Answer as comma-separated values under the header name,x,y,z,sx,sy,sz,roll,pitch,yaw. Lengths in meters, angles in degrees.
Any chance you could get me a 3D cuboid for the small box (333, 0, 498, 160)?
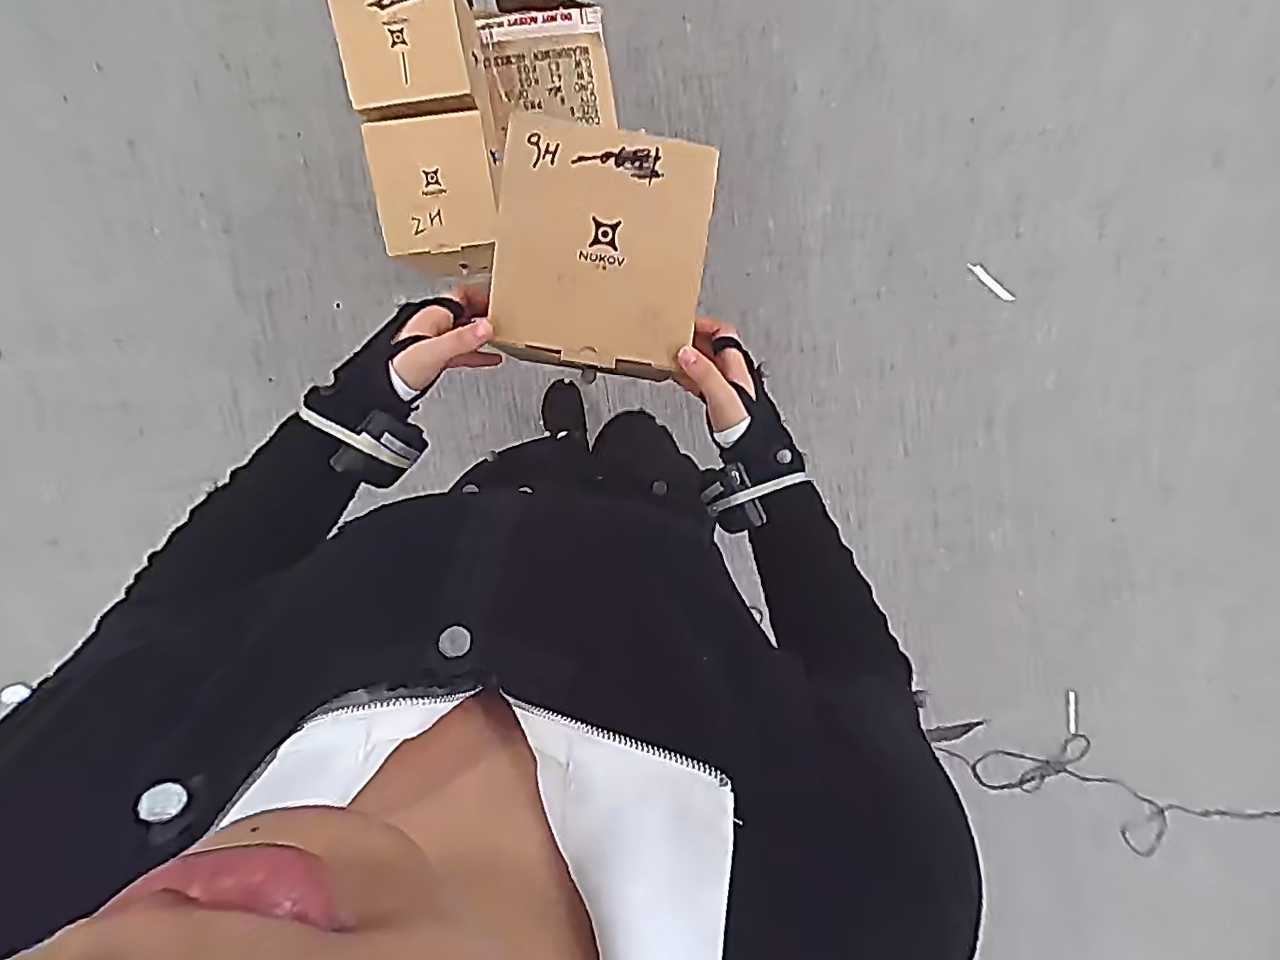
name,x,y,z,sx,sy,sz,roll,pitch,yaw
small box,-0.321,-0.609,0.801,0.168,0.176,0.179,-9,101,0
